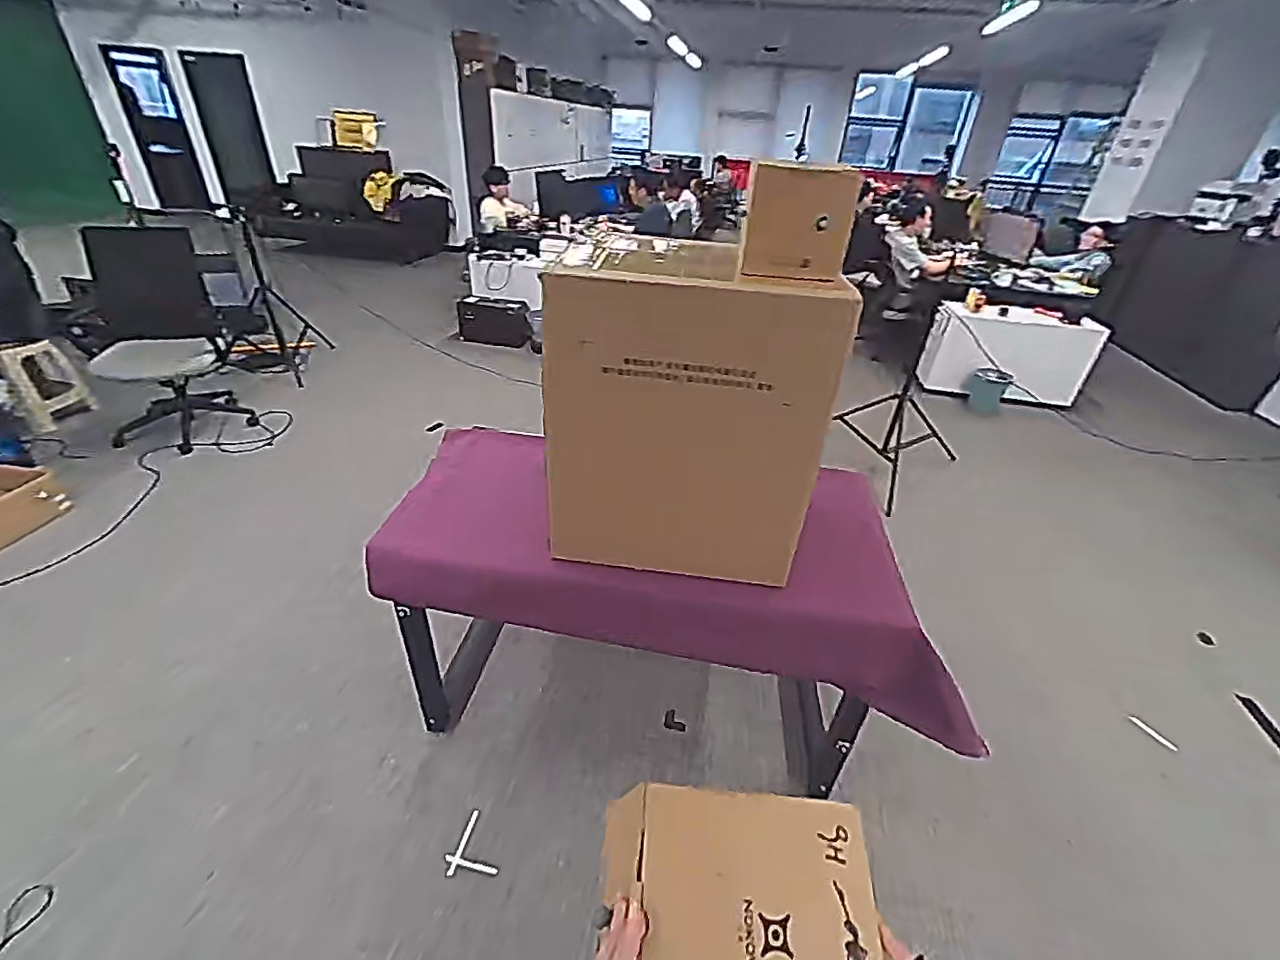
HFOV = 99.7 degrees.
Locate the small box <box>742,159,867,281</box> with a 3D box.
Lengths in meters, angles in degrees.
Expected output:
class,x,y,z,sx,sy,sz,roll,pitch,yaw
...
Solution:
class,x,y,z,sx,sy,sz,roll,pitch,yaw
small box,0.274,-0.455,0.944,0.168,0.176,0.179,7,33,3
